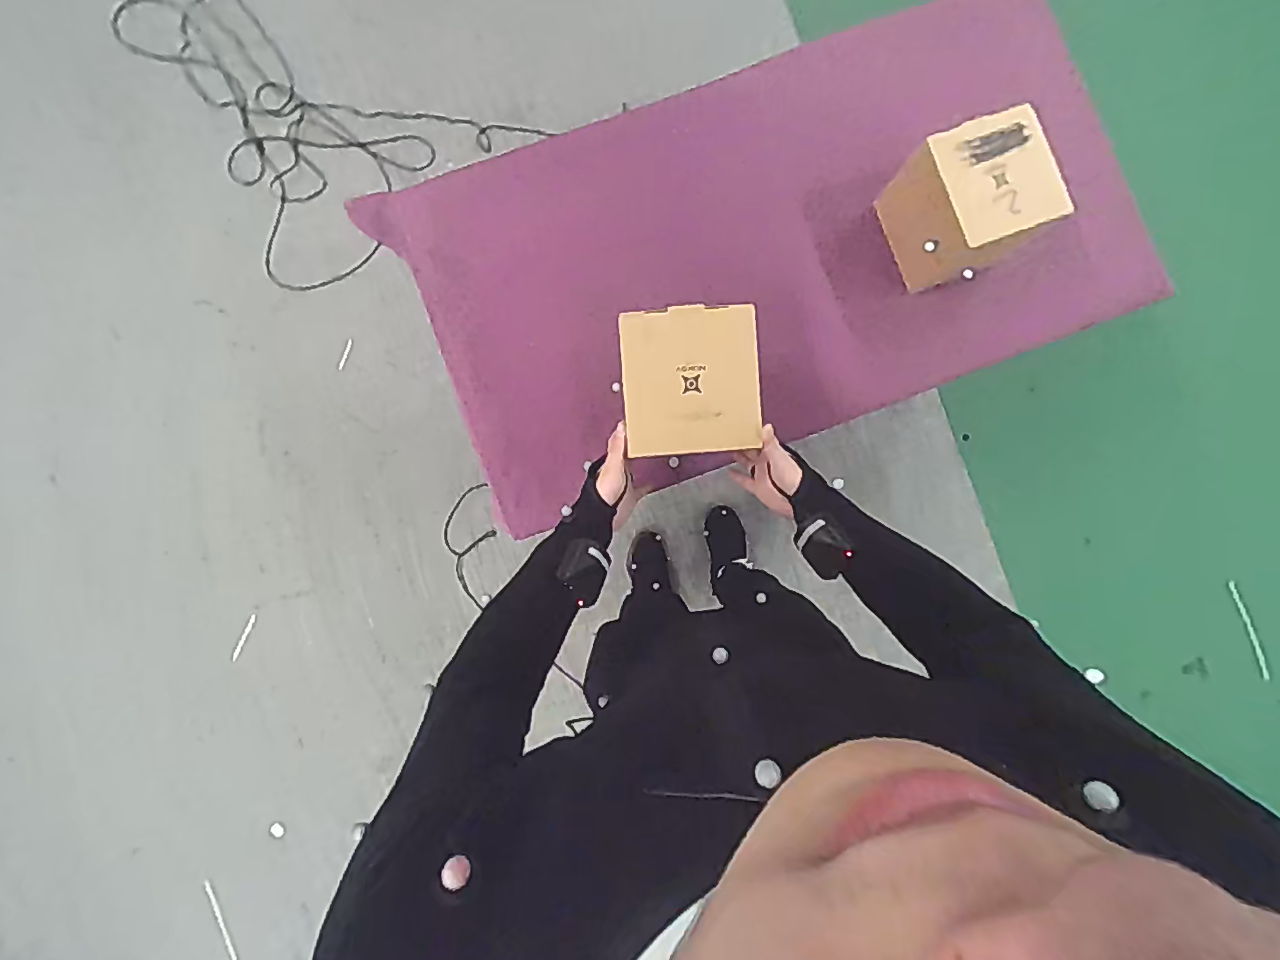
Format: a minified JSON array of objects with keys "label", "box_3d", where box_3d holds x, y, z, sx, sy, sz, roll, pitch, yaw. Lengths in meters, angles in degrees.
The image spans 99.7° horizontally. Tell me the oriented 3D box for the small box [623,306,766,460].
[{"label":"small box","box_3d":[0.063,-0.117,0.714,0.168,0.176,0.179,-3,93,0]}]
